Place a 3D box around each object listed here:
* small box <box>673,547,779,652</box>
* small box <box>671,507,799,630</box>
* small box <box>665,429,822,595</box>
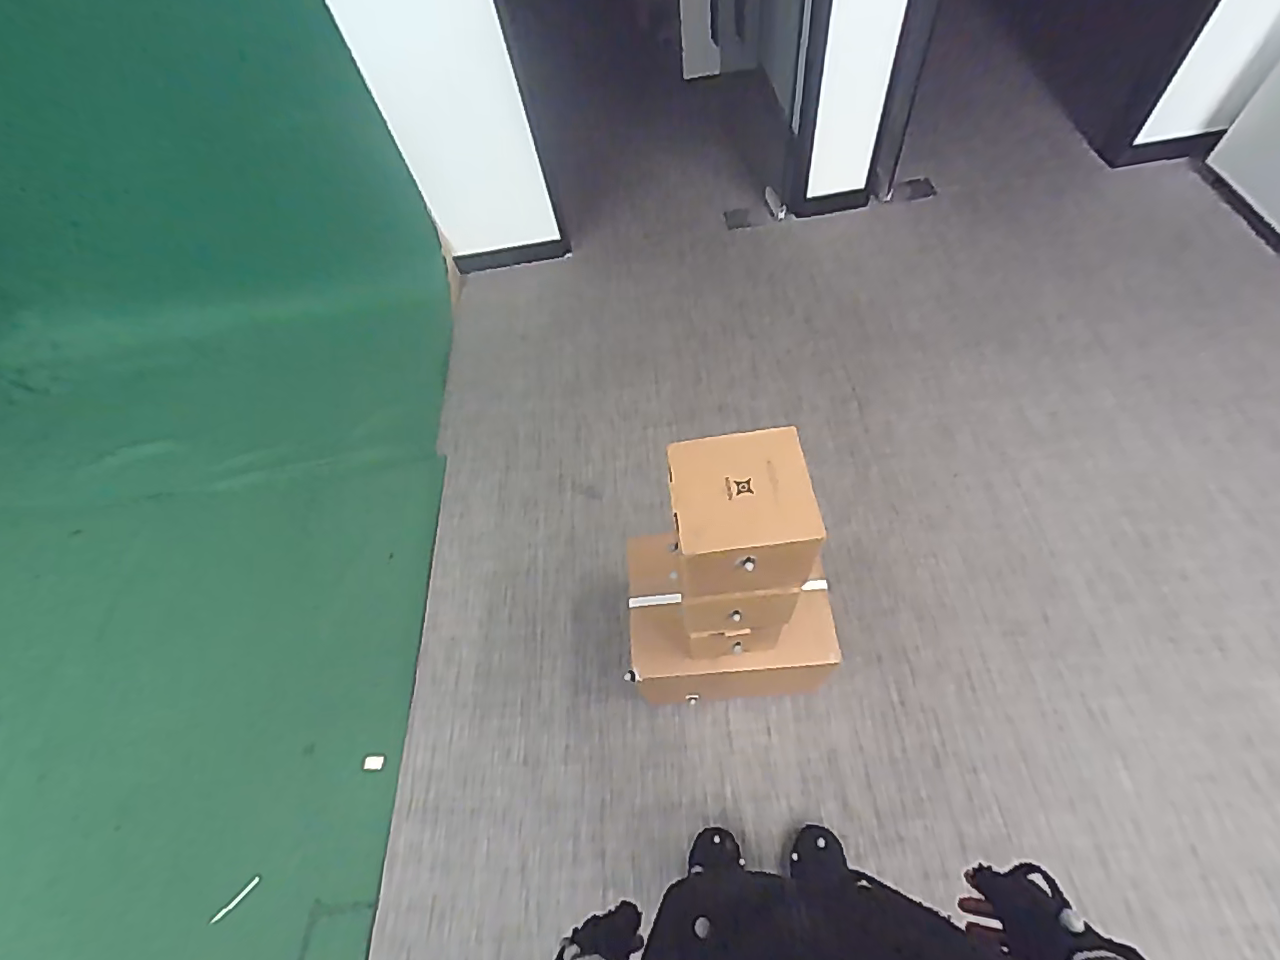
[{"bbox_3d":[0.161,0.222,1.031,0.168,0.176,0.179,-9,60,3],"label":"small box"},{"bbox_3d":[0.149,0.140,0.889,0.179,0.176,0.168,-7,59,5],"label":"small box"},{"bbox_3d":[0.135,0.053,0.753,0.179,0.176,0.168,-8,60,3],"label":"small box"}]
